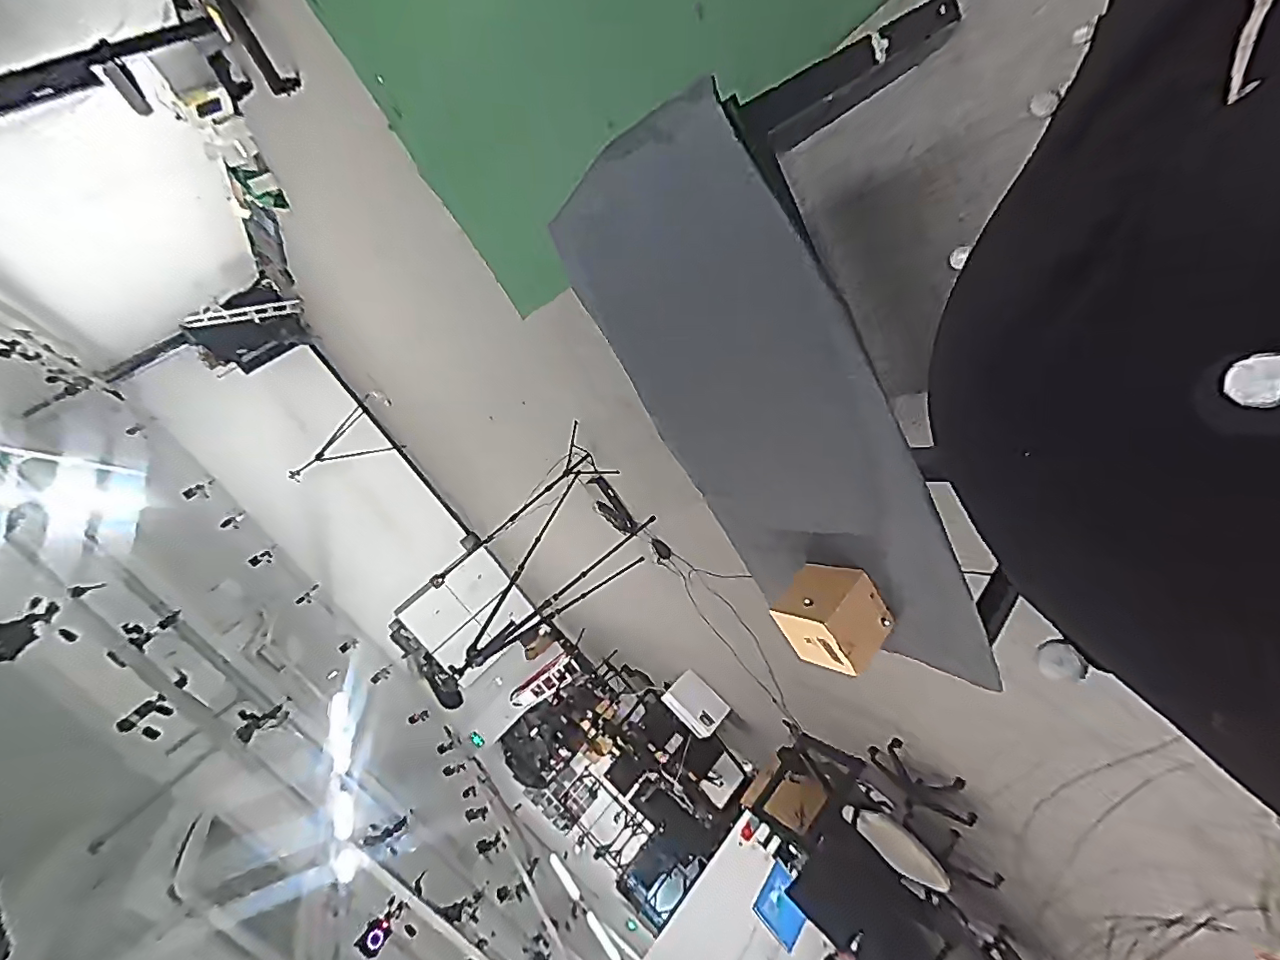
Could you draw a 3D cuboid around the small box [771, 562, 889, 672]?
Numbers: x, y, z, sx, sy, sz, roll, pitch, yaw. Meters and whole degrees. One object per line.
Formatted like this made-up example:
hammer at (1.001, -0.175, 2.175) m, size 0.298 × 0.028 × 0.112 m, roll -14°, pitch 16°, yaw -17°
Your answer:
small box at (0.449, 0.309, 1.260) m, size 0.168 × 0.176 × 0.179 m, roll 55°, pitch 156°, yaw -15°
